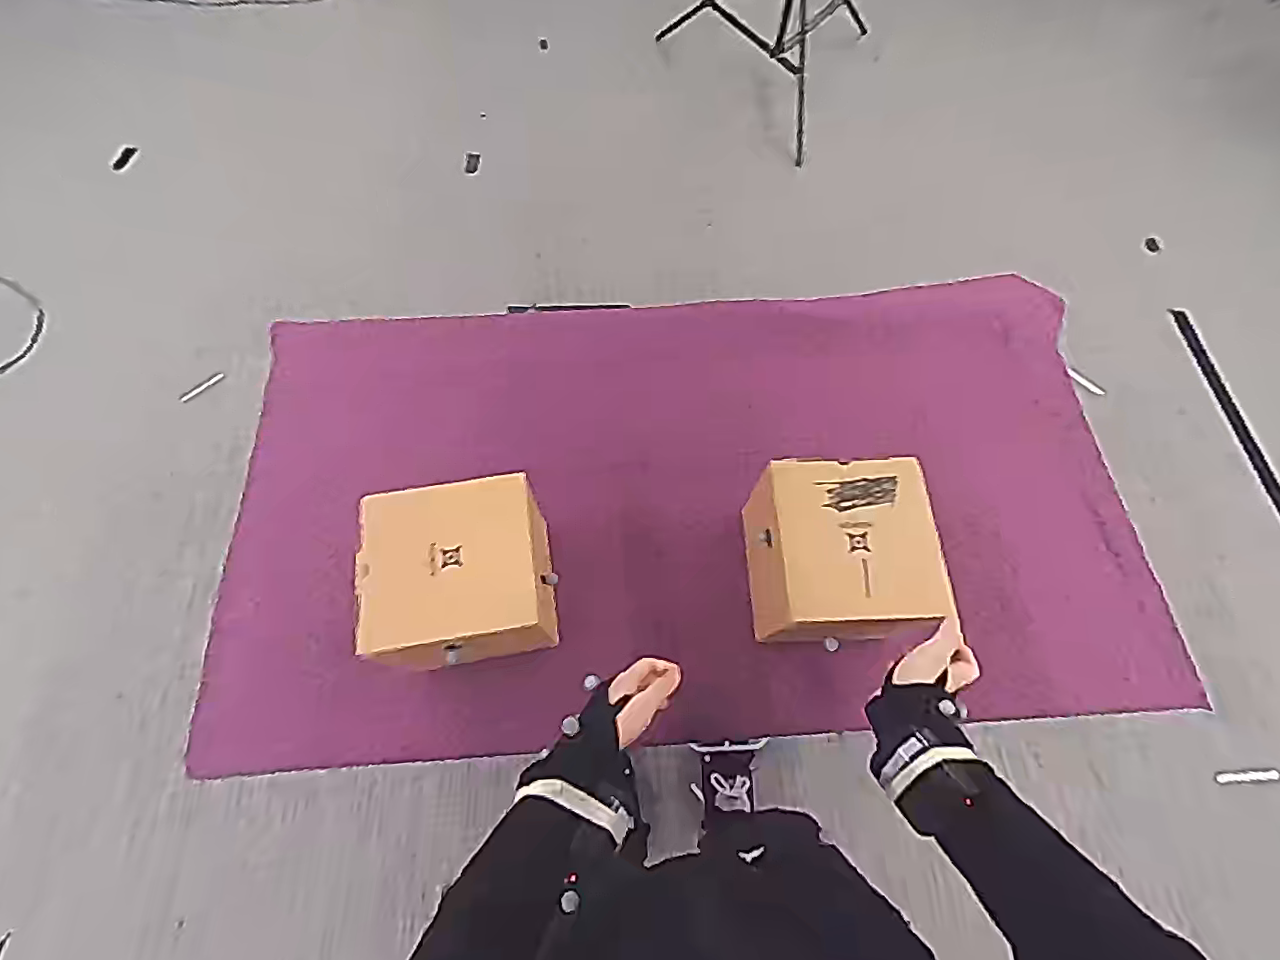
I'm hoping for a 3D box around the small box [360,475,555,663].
[{"bbox_3d":[-0.197,0.110,0.626,0.179,0.176,0.168,-9,68,-4],"label":"small box"}]

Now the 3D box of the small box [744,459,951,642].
[{"bbox_3d":[0.223,0.089,0.637,0.168,0.176,0.179,-1,67,-1],"label":"small box"}]
